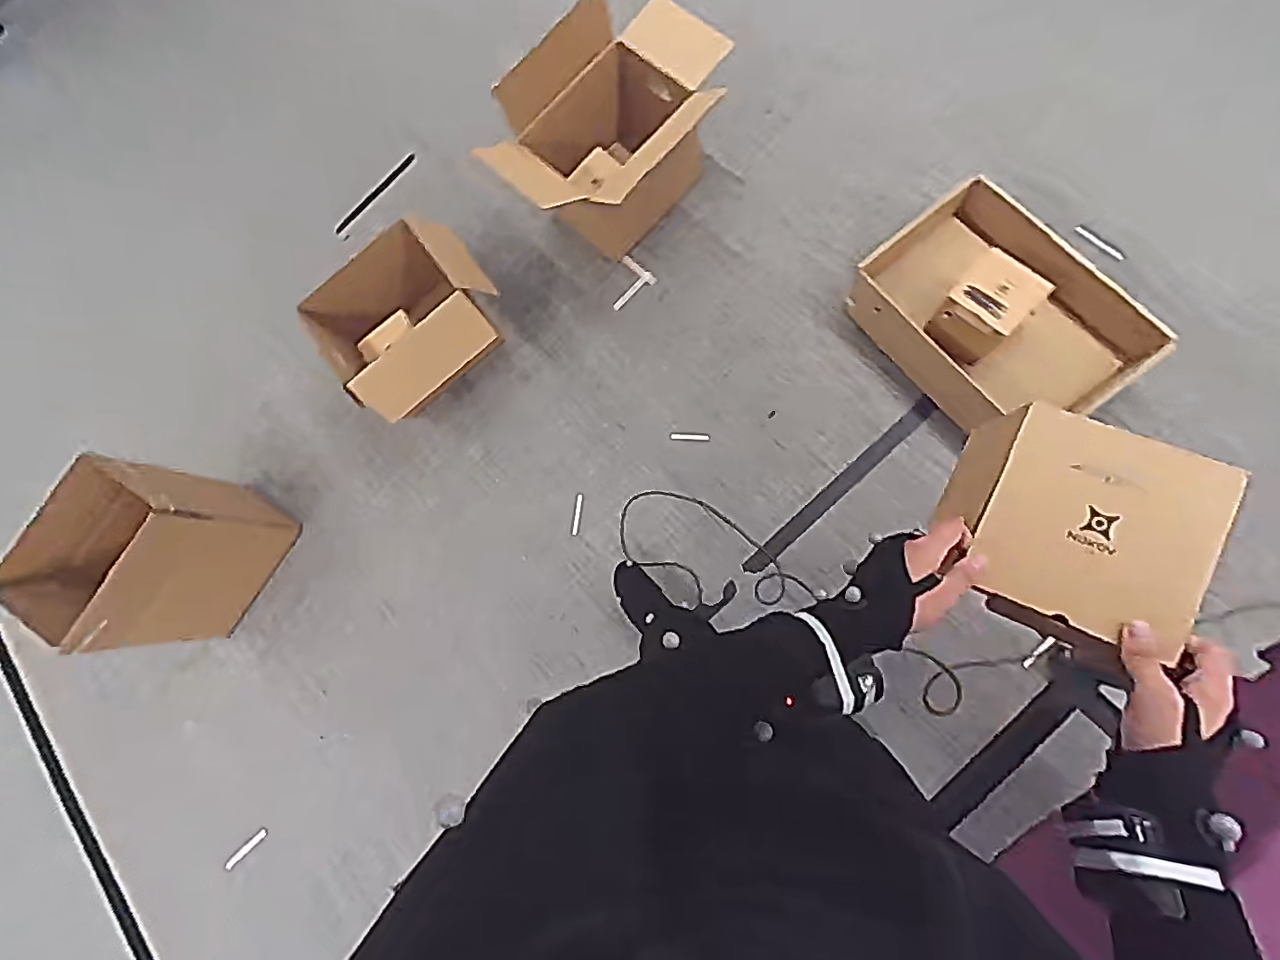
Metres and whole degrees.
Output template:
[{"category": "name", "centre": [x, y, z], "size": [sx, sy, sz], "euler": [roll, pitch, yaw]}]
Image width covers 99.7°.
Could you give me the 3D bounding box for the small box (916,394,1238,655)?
[{"category": "small box", "centre": [0.396, 0.038, 0.534], "size": [0.168, 0.176, 0.179], "euler": [24, 93, 16]}]
